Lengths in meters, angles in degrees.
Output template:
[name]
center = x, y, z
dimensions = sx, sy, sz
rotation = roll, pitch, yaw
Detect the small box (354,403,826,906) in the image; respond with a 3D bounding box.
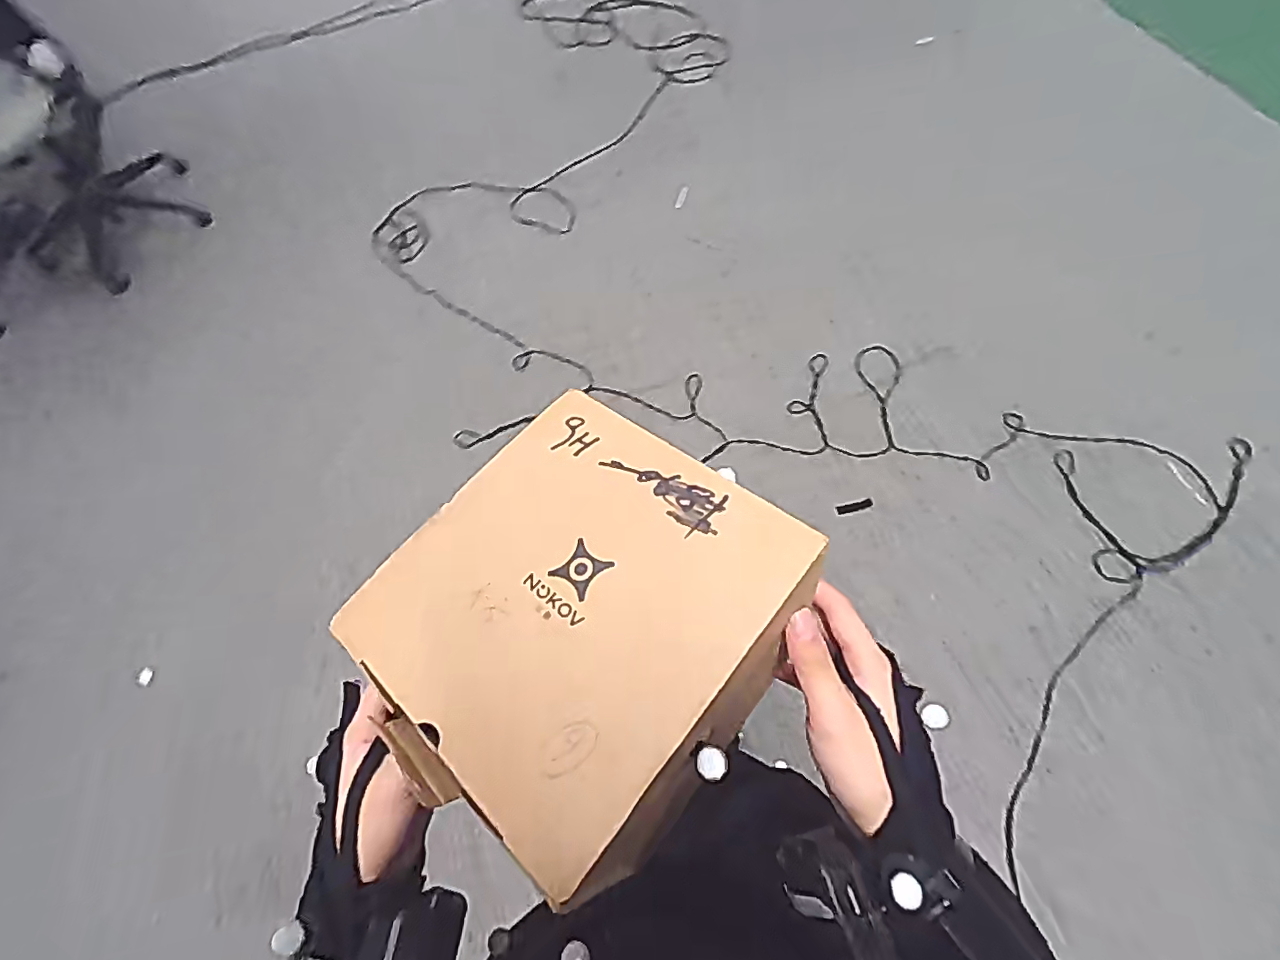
[small box]
center = -0.014, 0.095, 0.320
dimensions = 0.168, 0.176, 0.179
rotation = 34, 71, 27
